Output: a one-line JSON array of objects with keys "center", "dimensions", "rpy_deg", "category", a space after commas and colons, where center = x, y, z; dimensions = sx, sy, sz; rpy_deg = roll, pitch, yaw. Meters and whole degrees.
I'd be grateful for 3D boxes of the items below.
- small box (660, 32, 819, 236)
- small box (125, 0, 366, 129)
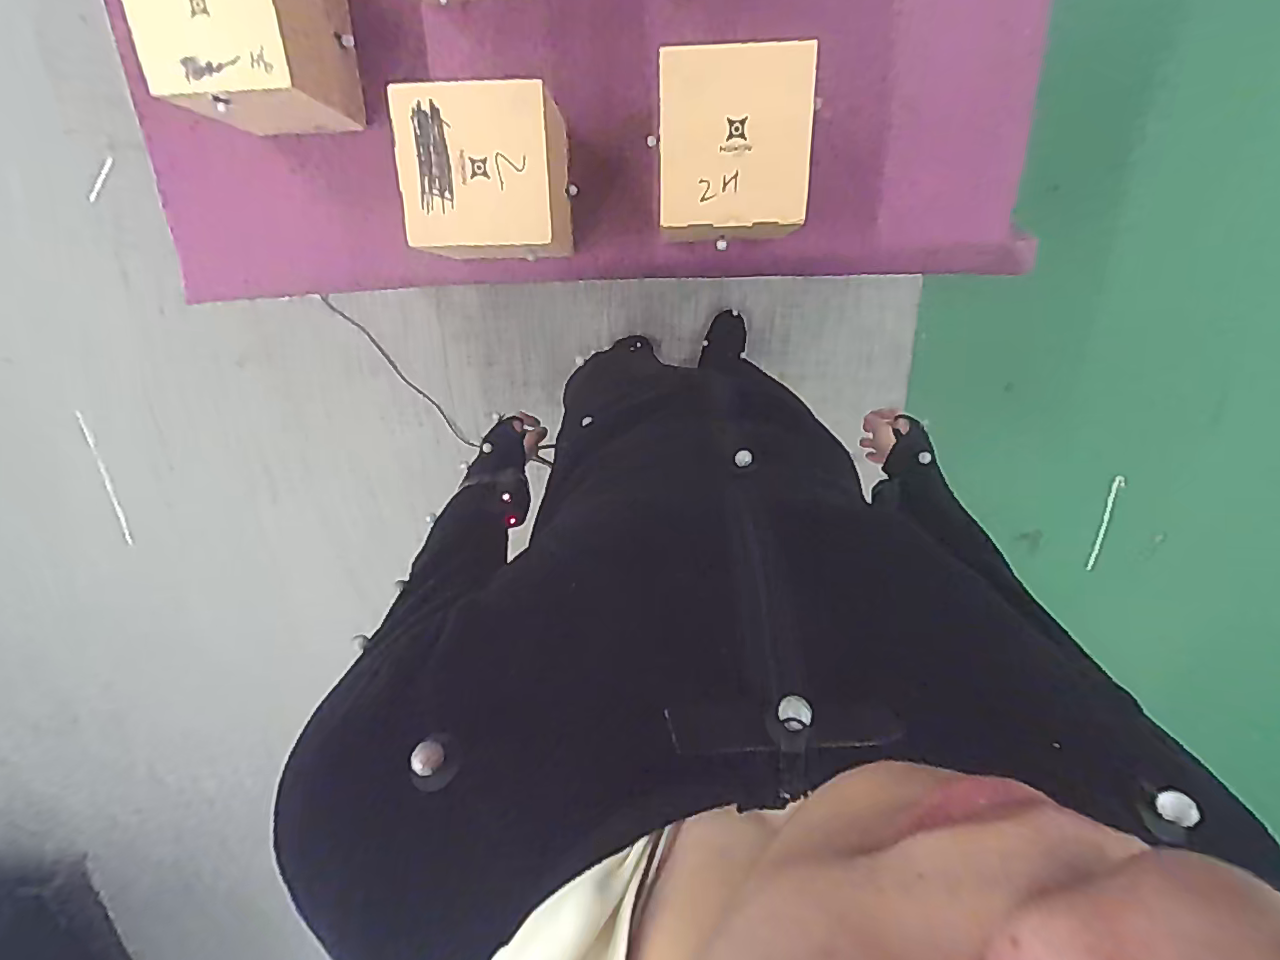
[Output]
[{"center": [0.108, -0.405, 0.662], "dimensions": [0.168, 0.176, 0.179], "rpy_deg": [0, 109, 3], "category": "small box"}, {"center": [-0.458, -0.543, 0.640], "dimensions": [0.168, 0.176, 0.179], "rpy_deg": [0, 109, 4], "category": "small box"}]
